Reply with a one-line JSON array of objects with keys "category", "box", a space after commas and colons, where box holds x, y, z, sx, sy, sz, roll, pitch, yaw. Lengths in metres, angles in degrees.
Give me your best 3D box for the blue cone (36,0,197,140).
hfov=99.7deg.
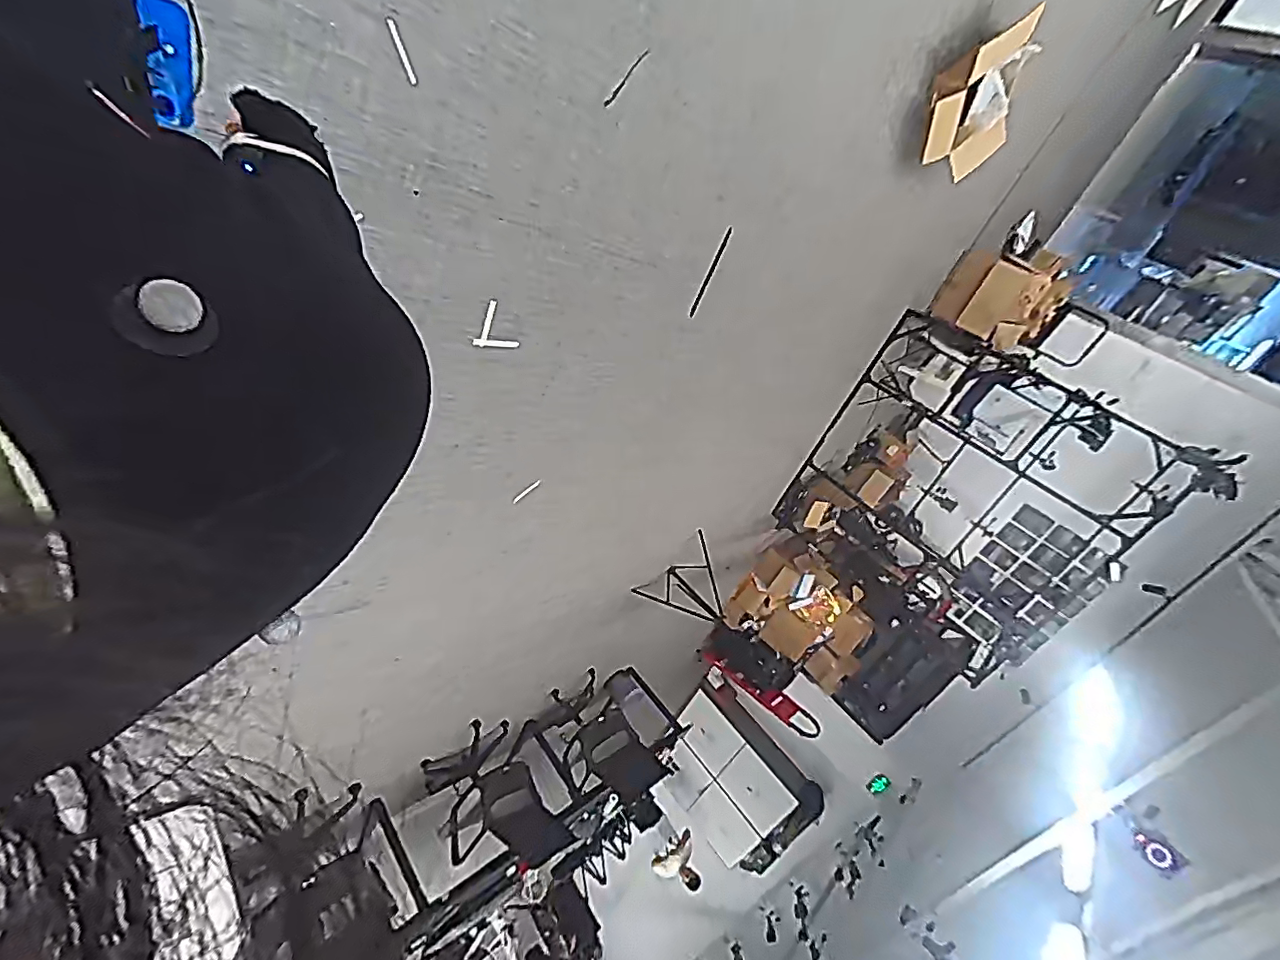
[{"category": "blue cone", "box": [-0.777, -0.609, 0.844, 0.192, 0.380, 0.193, -14, 139, -45]}]
